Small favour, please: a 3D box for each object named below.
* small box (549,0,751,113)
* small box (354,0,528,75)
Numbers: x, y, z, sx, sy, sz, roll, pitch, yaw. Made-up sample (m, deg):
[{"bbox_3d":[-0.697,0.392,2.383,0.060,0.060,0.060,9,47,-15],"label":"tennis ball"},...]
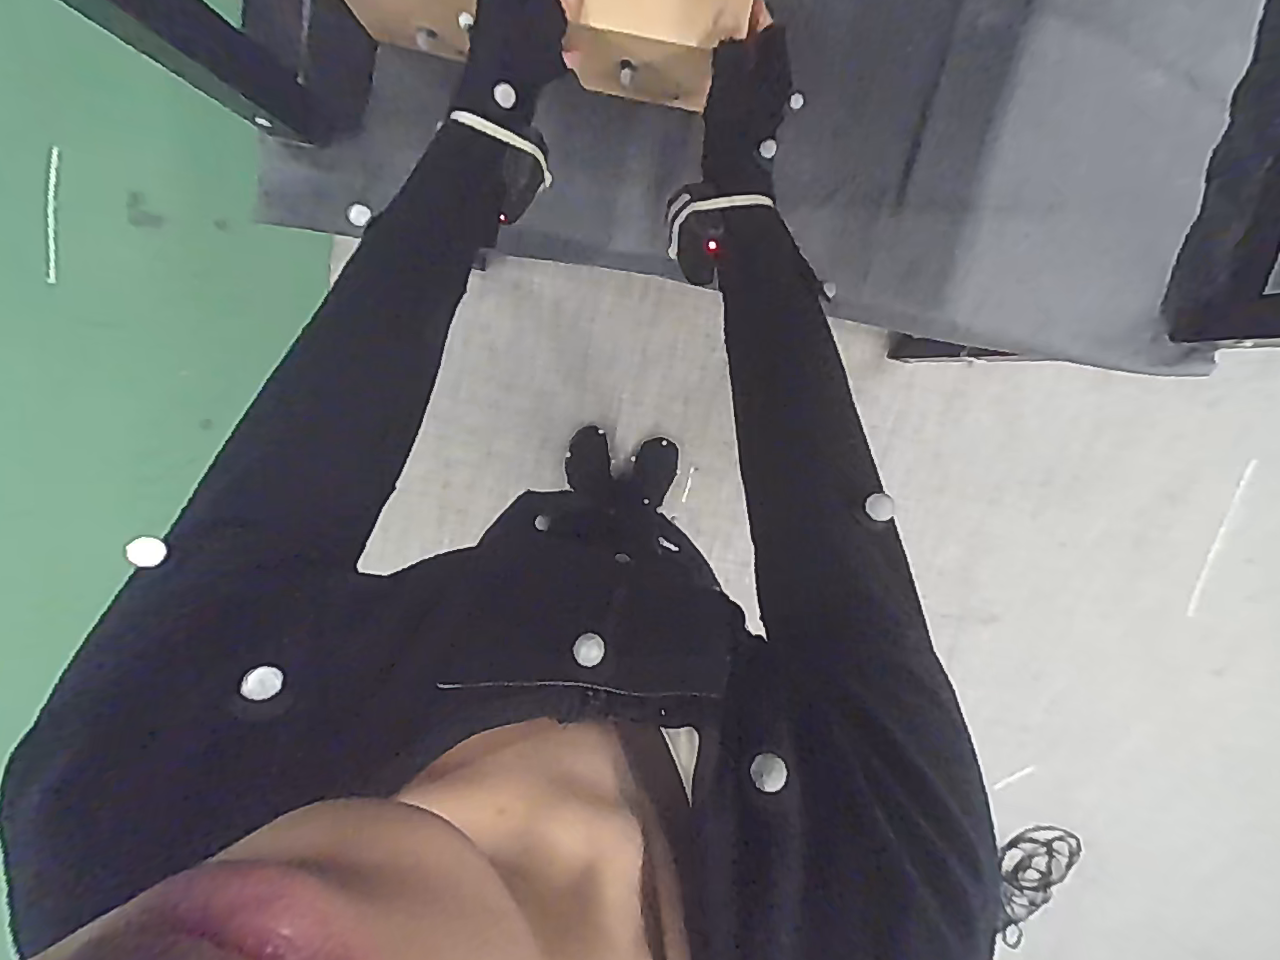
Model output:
[{"bbox_3d":[0.024,-0.475,0.502,0.168,0.176,0.179,11,108,0],"label":"small box"},{"bbox_3d":[-0.202,-0.549,0.527,0.168,0.176,0.179,11,101,-4],"label":"small box"}]
